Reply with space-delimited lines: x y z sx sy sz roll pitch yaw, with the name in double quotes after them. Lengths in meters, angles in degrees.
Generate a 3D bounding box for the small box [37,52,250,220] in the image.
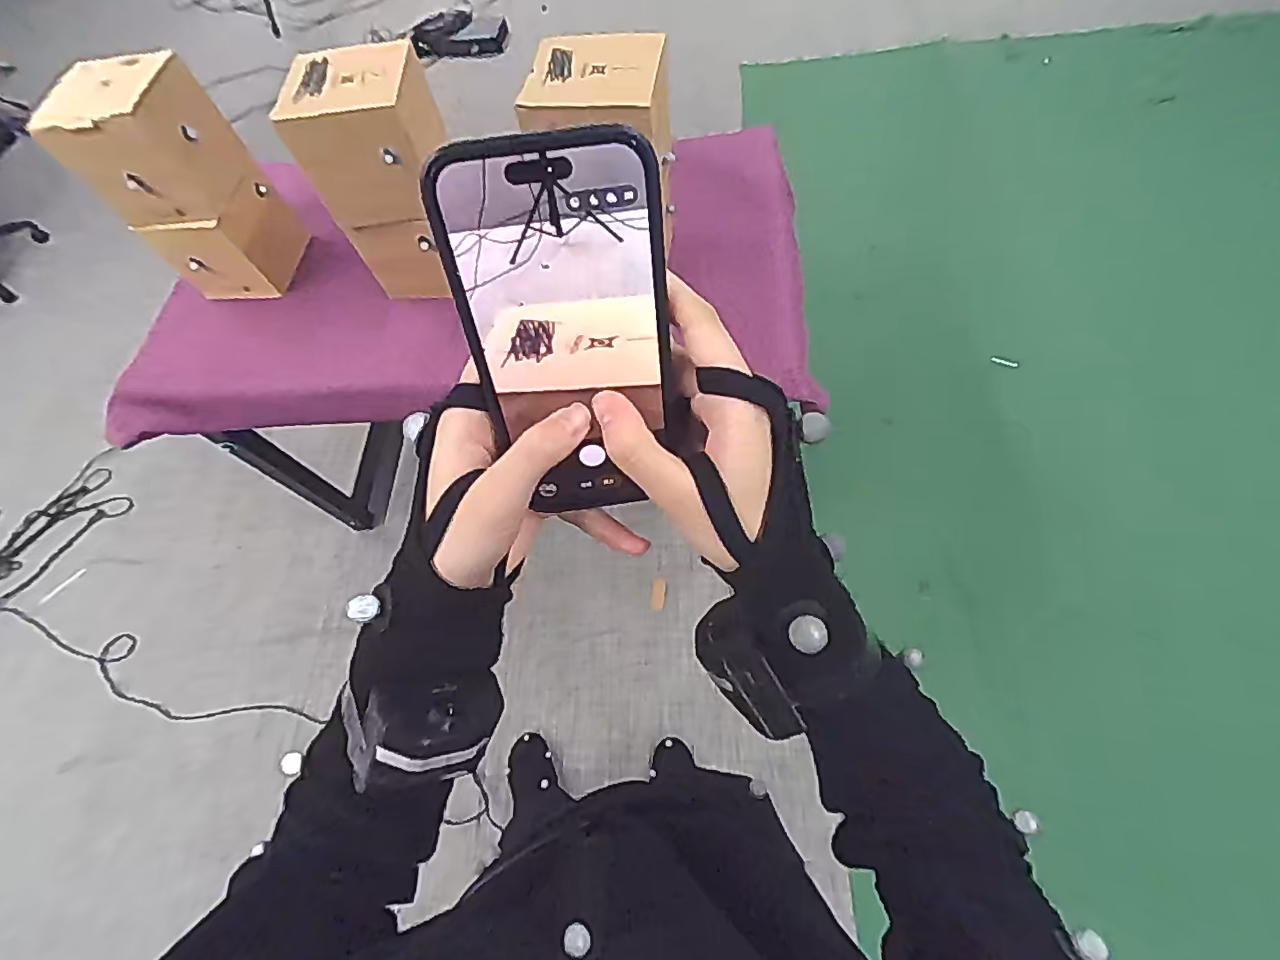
-0.787 -0.548 0.882 0.168 0.176 0.179 -3 64 4 "small box"

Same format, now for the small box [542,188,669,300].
-0.047 -0.430 0.928 0.179 0.176 0.168 6 64 9 "small box"

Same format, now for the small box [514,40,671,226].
-0.055 -0.489 0.775 0.179 0.176 0.168 6 64 8 "small box"

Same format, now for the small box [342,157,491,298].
-0.385 -0.446 0.971 0.179 0.176 0.168 1 64 6 "small box"

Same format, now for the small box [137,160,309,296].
-0.771 -0.468 1.025 0.168 0.176 0.179 1 64 7 "small box"
